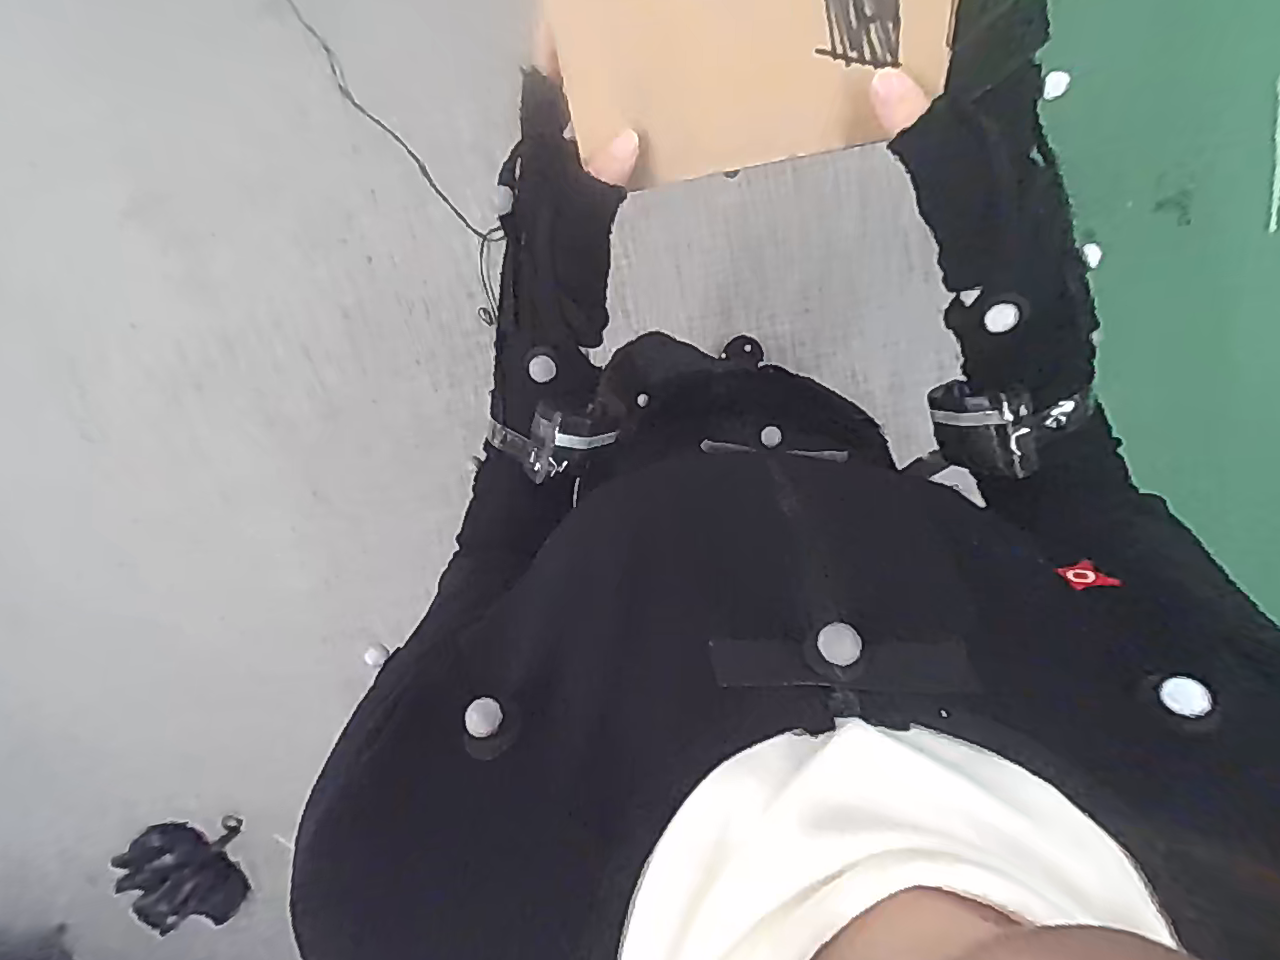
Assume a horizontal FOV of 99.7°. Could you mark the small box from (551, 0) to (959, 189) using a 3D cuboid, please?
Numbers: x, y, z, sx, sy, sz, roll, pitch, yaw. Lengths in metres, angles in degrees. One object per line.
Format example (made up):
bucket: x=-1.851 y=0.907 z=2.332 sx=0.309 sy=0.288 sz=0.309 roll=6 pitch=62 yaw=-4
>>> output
small box: x=0.048 y=-0.275 z=0.283 sx=0.179 sy=0.176 sz=0.168 roll=-6 pitch=128 yaw=9
